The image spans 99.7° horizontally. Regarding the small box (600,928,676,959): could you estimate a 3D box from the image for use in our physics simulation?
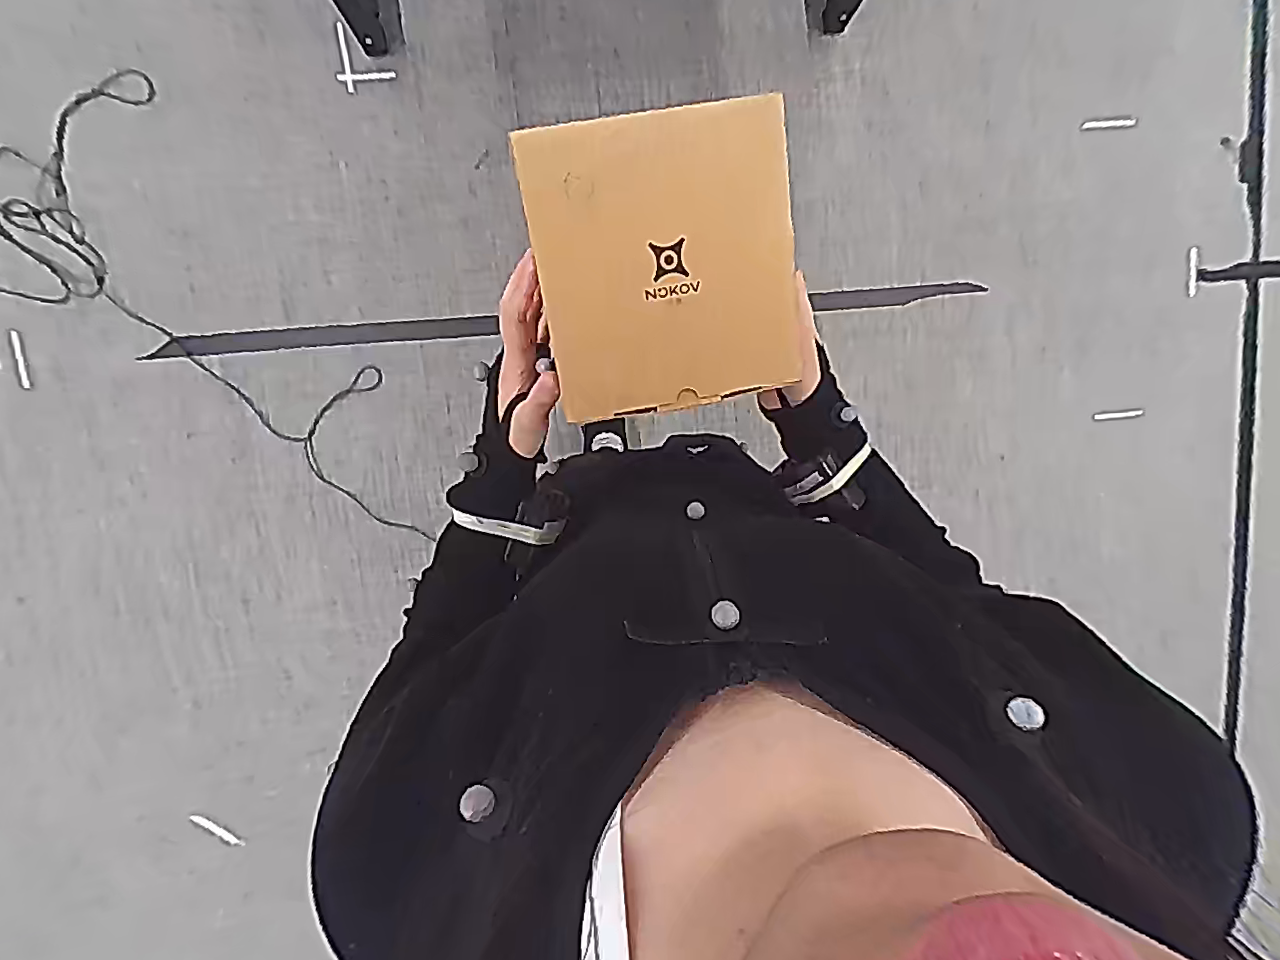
[{"bbox_3d":[0.004,1.174,1.234,0.179,0.176,0.168,-6,95,-3],"label":"small box"}]

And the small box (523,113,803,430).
[{"bbox_3d":[0.012,-0.150,0.426,0.168,0.176,0.179,-11,106,-3],"label":"small box"}]
